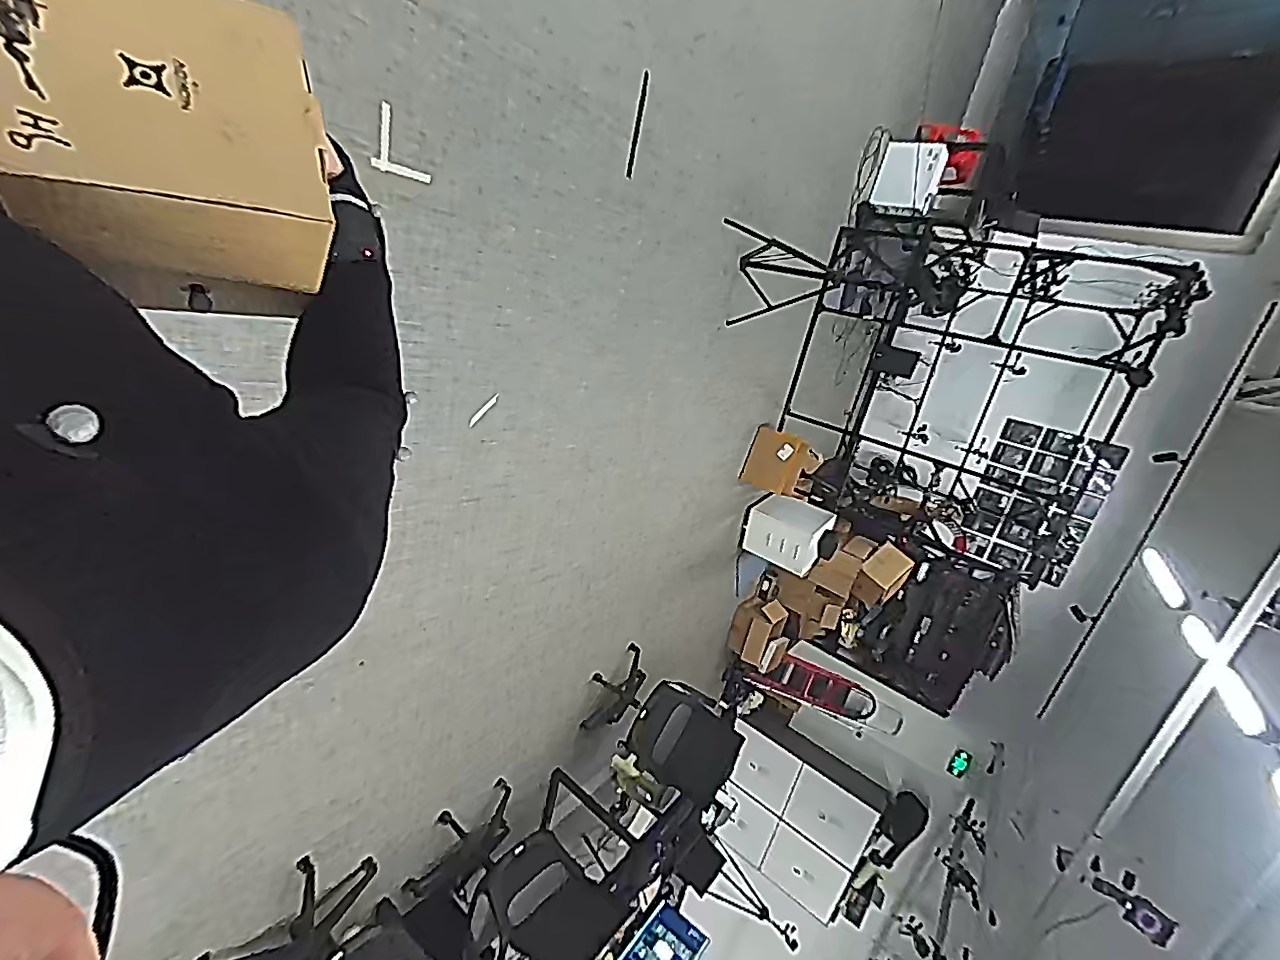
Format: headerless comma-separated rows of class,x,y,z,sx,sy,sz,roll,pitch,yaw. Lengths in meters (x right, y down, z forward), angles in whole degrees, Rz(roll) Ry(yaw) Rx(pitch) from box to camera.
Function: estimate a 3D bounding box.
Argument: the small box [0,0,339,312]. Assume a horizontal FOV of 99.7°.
small box,-0.364,-0.249,0.433,0.179,0.176,0.168,-9,83,-38
